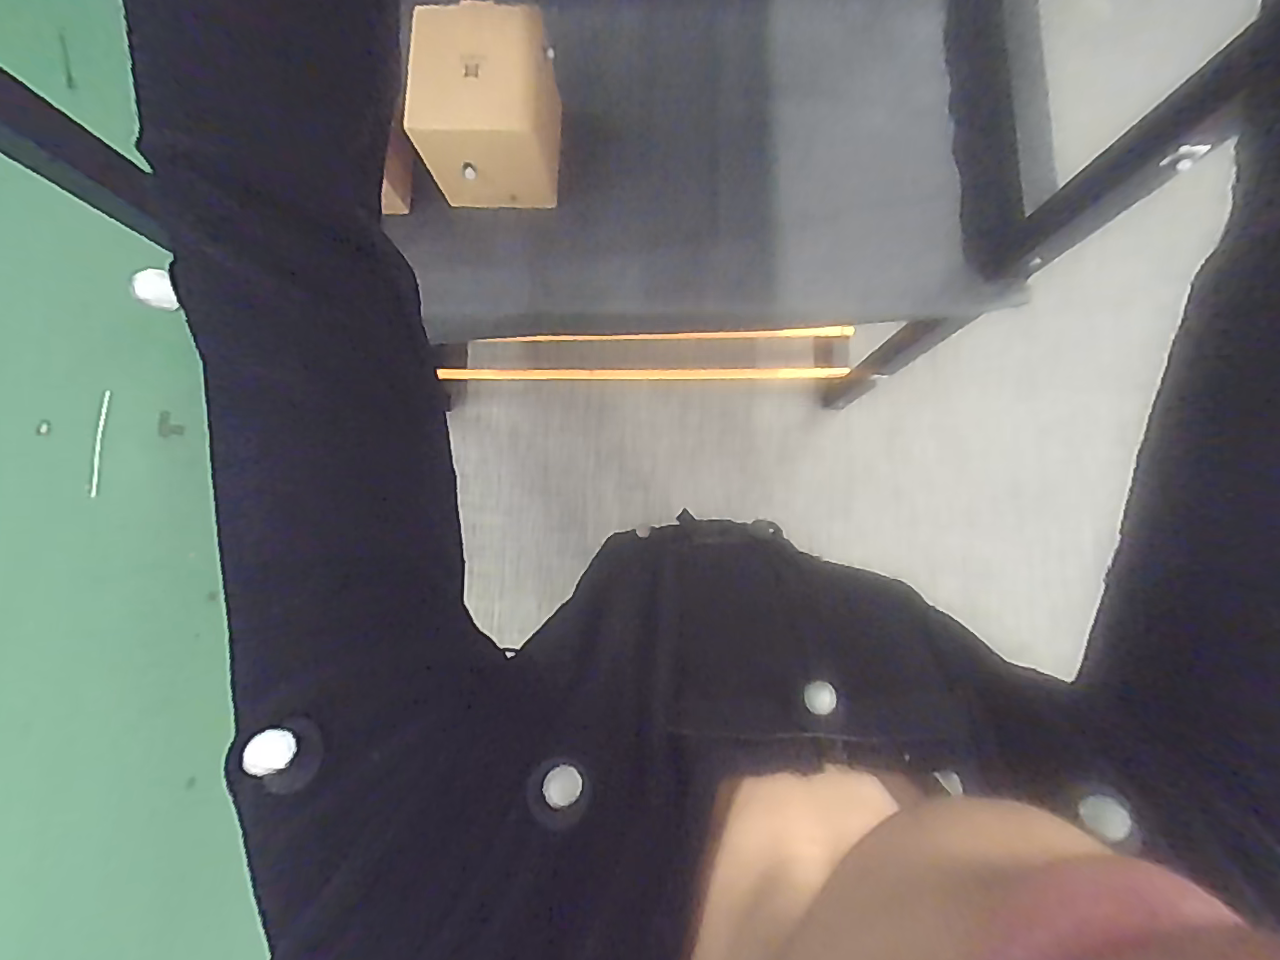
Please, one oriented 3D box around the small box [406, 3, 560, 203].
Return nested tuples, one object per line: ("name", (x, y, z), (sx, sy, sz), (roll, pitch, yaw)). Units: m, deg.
("small box", (-0.210, -0.521, 0.768), (0.168, 0.176, 0.179), (1, 83, 1))
